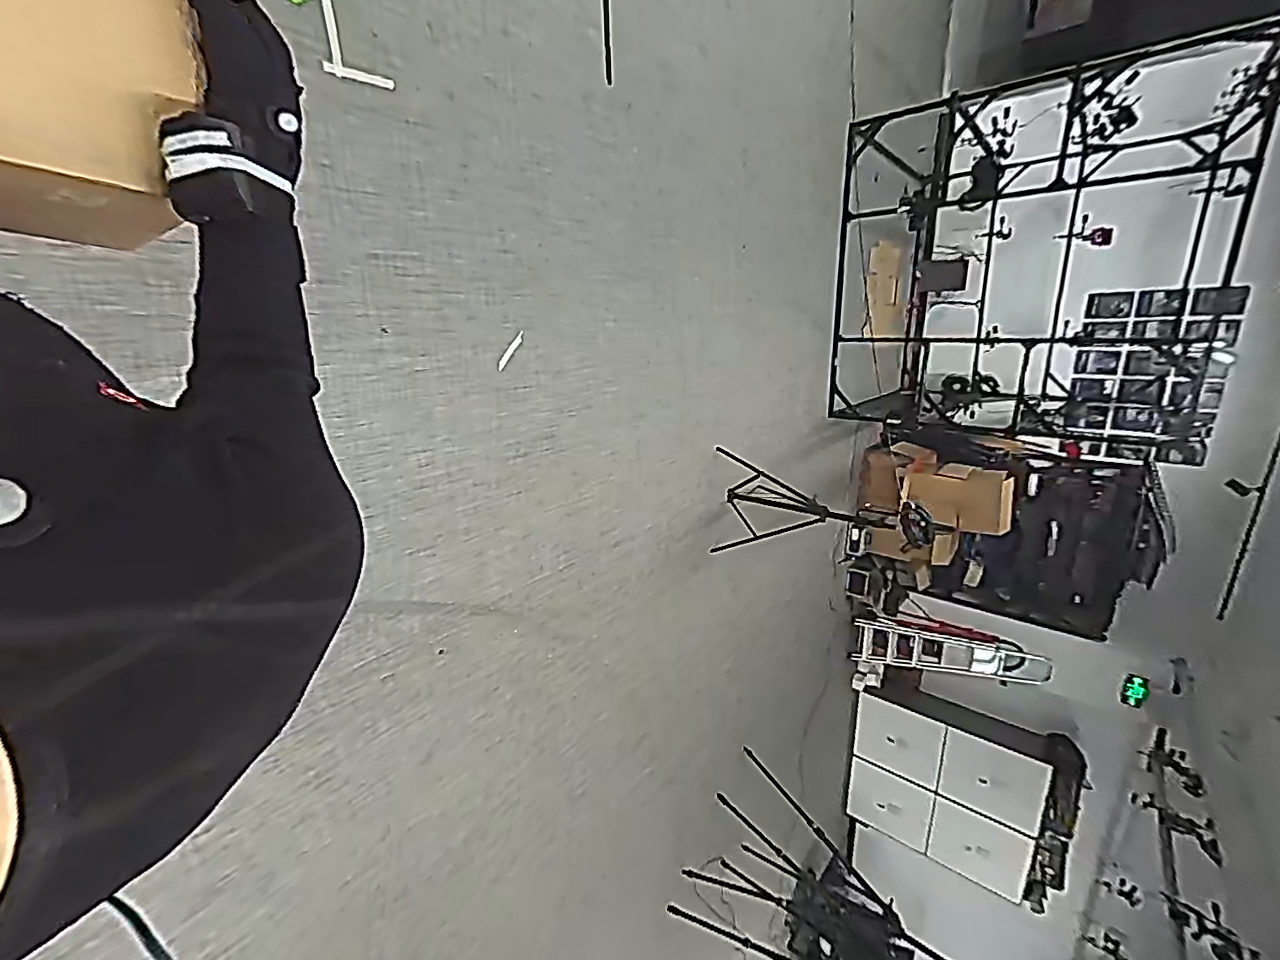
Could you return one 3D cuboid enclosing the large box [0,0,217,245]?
[{"bbox_3d":[-0.576,-0.369,0.343,0.408,0.320,0.320,-10,107,-52],"label":"large box"}]
